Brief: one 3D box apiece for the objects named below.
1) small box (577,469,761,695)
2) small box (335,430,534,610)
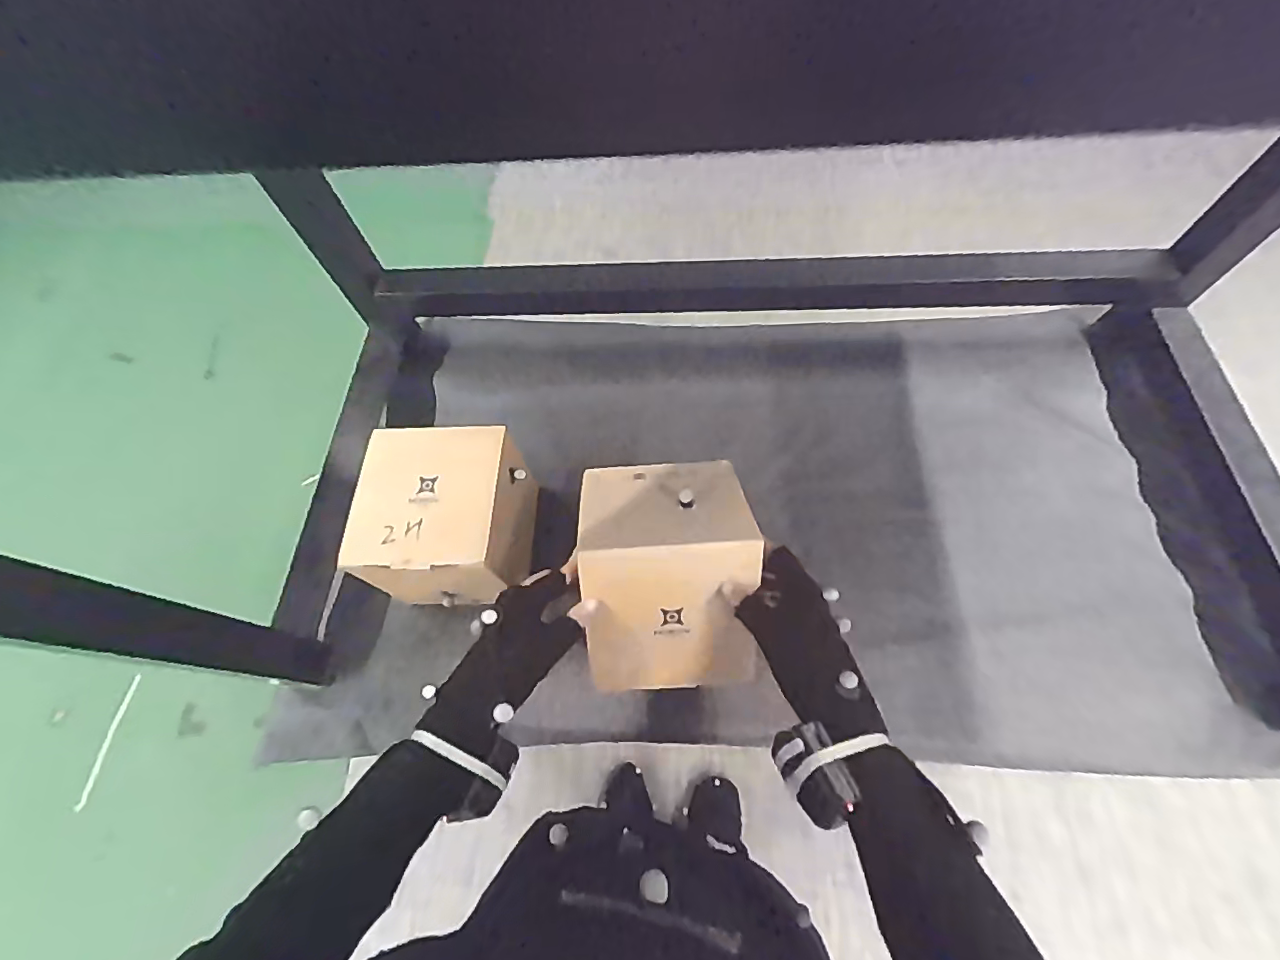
[{"bbox_3d":[0.023,0.096,0.576,0.168,0.179,0.176,-4,26,-2],"label":"small box"},{"bbox_3d":[-0.238,0.054,0.680,0.168,0.176,0.179,-1,62,5],"label":"small box"}]
